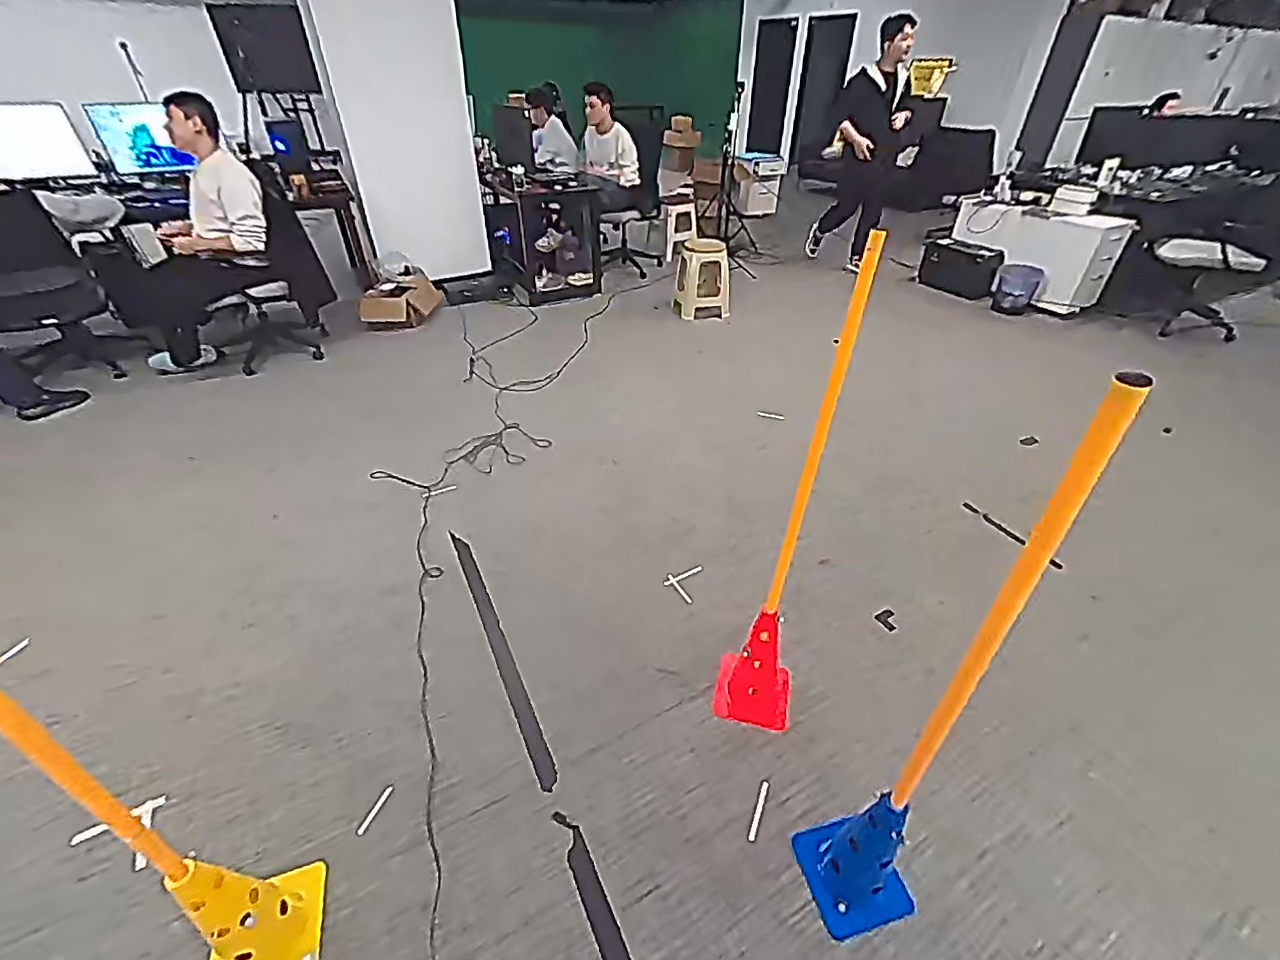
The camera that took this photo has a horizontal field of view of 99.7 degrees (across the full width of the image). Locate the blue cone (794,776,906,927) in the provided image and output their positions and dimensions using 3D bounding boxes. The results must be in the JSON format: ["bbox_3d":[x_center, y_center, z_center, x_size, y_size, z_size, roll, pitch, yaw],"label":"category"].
[{"bbox_3d":[0.452,0.706,1.073,0.193,0.380,0.192,-8,37,-11],"label":"blue cone"}]

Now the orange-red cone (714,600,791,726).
[{"bbox_3d":[0.313,0.441,1.401,0.198,0.360,0.199,10,39,14],"label":"orange-red cone"}]
